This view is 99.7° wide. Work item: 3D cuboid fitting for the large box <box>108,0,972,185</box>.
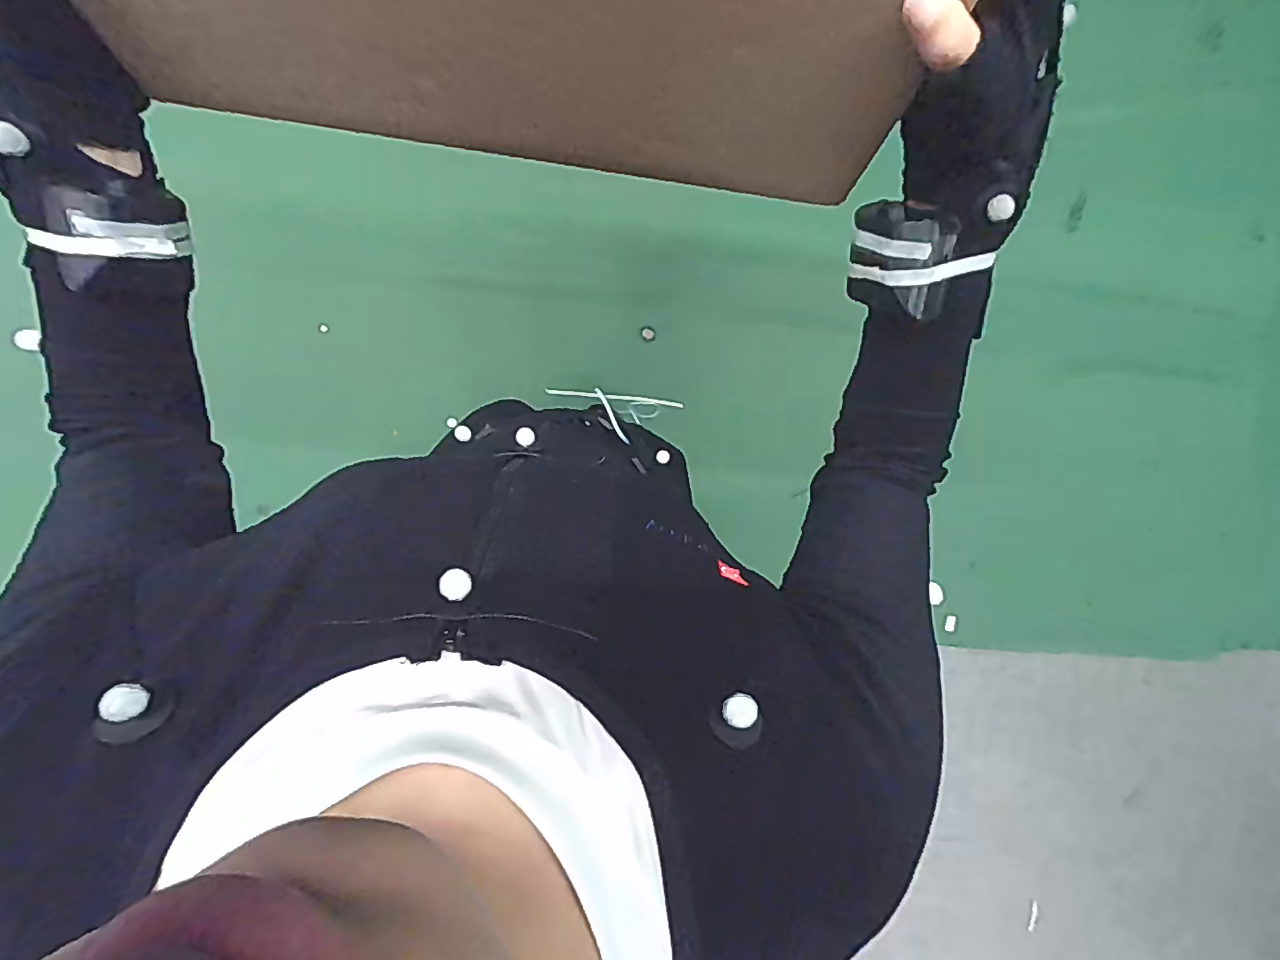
[{"bbox_3d":[-0.037,-0.377,0.209,0.408,0.320,0.320,6,78,-6],"label":"large box"}]
